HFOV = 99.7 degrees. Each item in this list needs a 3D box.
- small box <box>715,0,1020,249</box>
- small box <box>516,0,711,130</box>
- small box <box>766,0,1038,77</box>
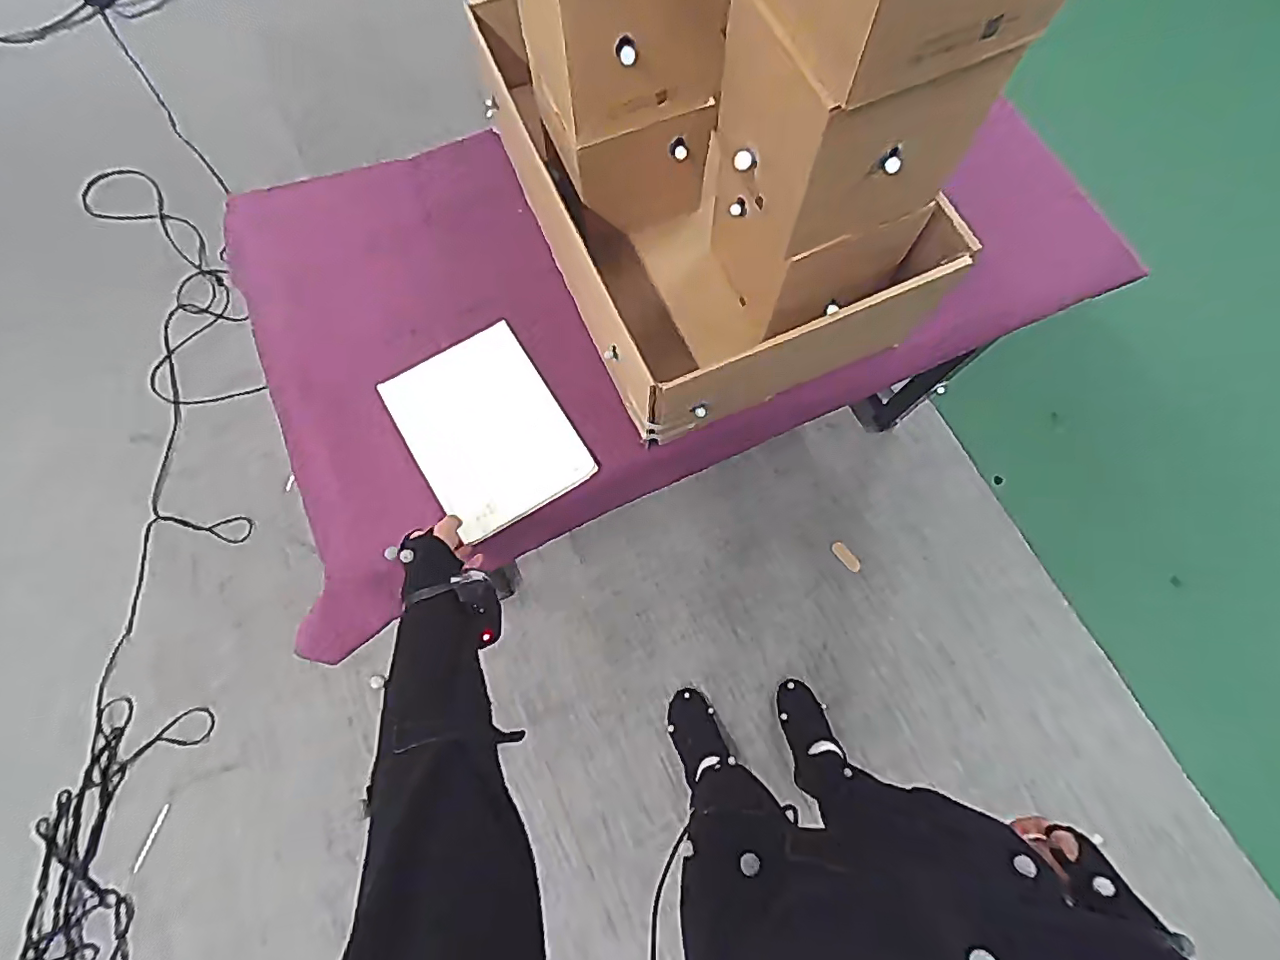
[{"bbox_3d":[0.183,-0.355,0.500,0.179,0.176,0.168,-23,74,-3],"label":"small box"},{"bbox_3d":[-0.032,-0.499,0.552,0.168,0.176,0.179,-22,77,-5],"label":"small box"},{"bbox_3d":[0.179,-0.400,0.344,0.168,0.176,0.179,-22,73,-4],"label":"small box"}]
